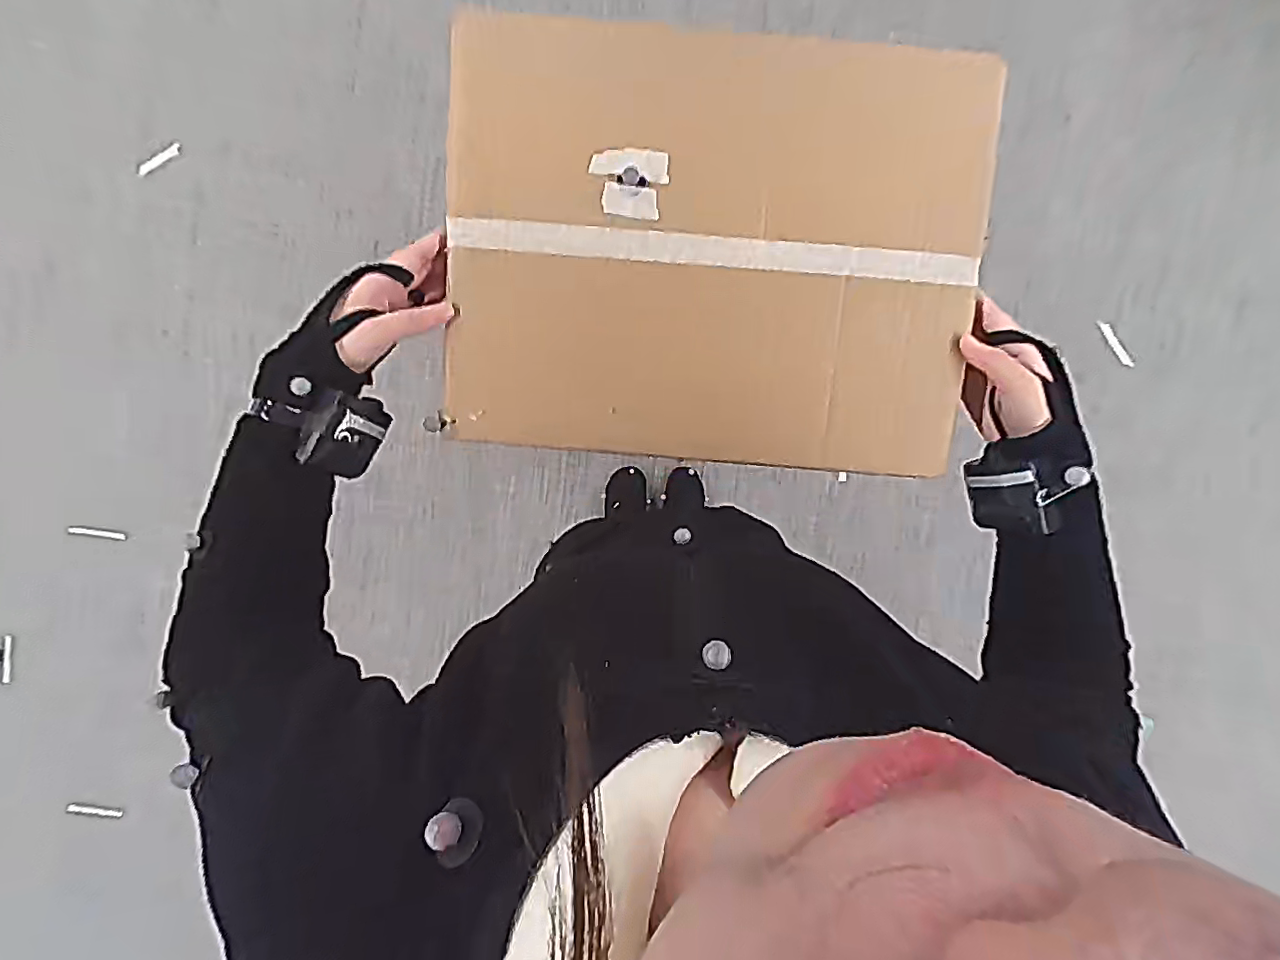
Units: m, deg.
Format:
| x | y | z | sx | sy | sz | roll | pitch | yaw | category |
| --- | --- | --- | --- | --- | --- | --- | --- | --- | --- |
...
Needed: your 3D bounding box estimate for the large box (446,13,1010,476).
| x | y | z | sx | sy | sz | roll | pitch | yaw | category |
| --- | --- | --- | --- | --- | --- | --- | --- | --- | --- |
| 0.058 | -0.190 | 0.551 | 0.408 | 0.320 | 0.320 | 5 | 98 | 0 | large box |
